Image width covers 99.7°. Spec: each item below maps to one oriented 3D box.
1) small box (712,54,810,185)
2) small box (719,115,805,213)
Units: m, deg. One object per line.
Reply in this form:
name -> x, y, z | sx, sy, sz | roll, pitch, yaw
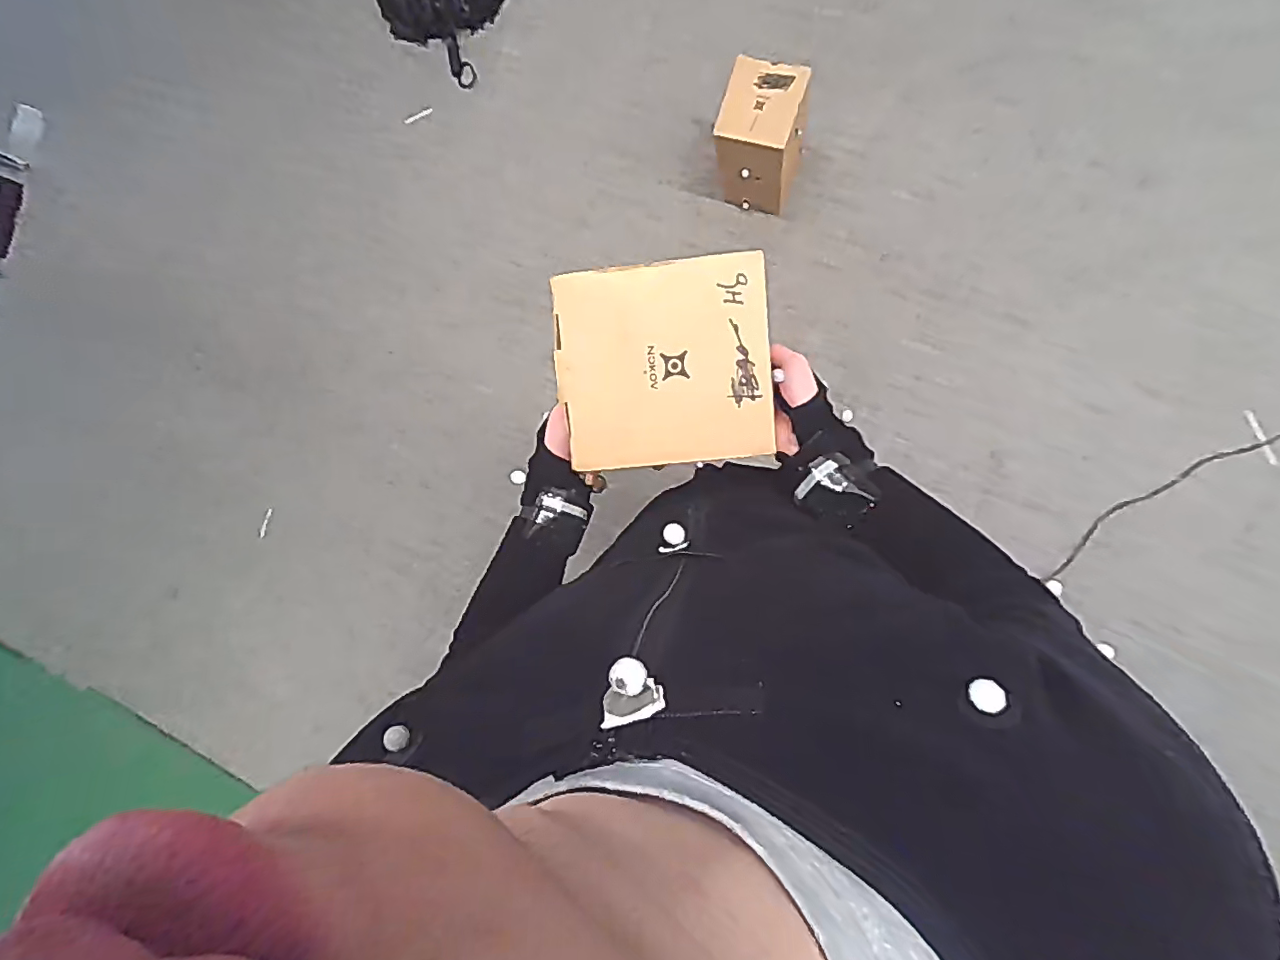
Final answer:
small box -> 0.276, -0.824, 1.249 | 0.168, 0.176, 0.179 | 20, 96, 12
small box -> 0.316, -0.833, 1.408 | 0.168, 0.176, 0.179 | 20, 97, 12
